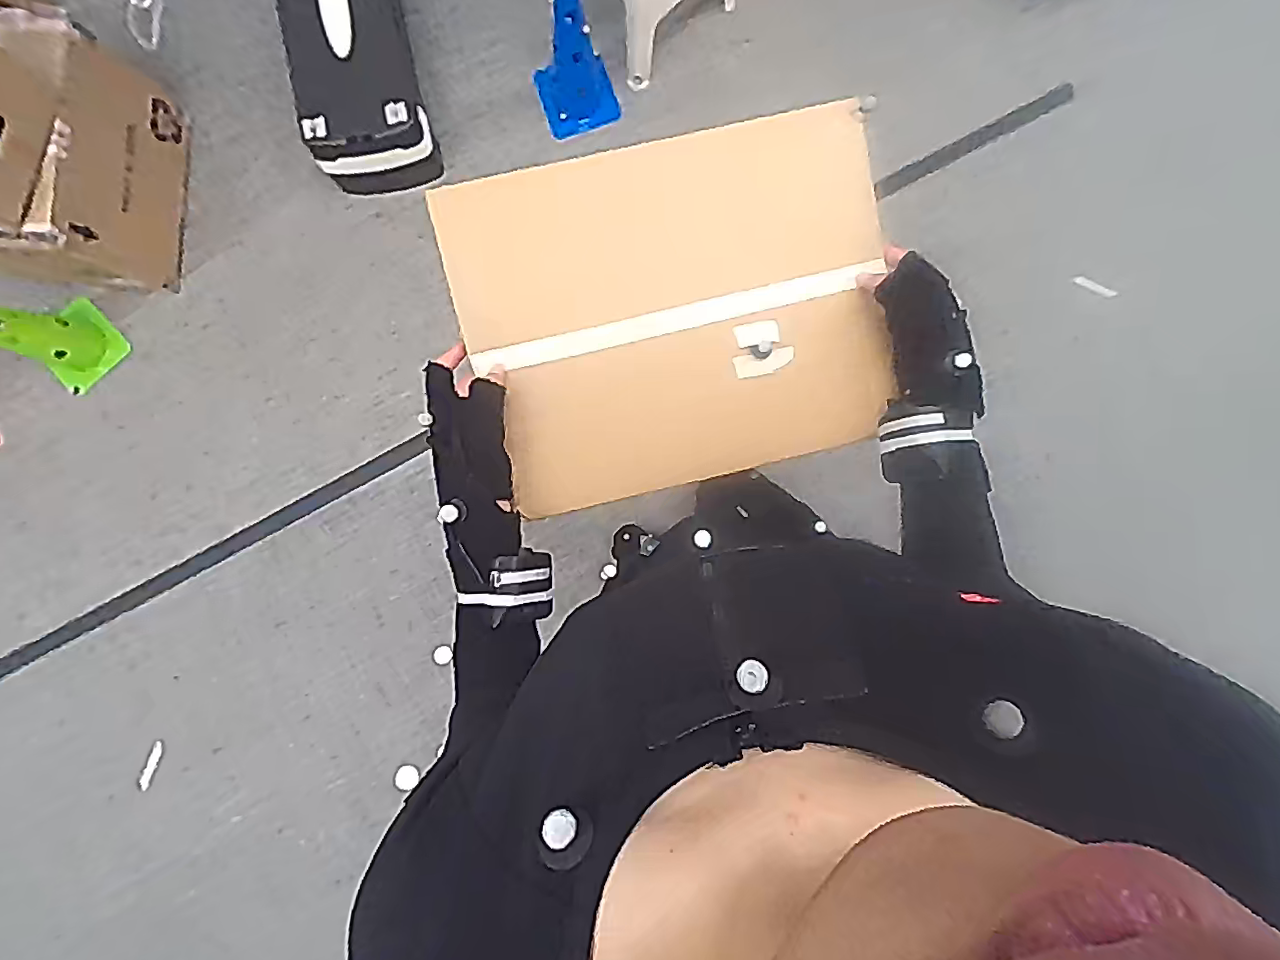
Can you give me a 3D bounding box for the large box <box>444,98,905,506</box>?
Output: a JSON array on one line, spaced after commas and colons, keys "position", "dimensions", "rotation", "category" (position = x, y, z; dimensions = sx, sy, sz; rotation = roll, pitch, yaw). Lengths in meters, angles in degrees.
[{"position": [0.033, -0.185, 0.668], "dimensions": [0.408, 0.320, 0.320], "rotation": [-13, 99, -3], "category": "large box"}]
